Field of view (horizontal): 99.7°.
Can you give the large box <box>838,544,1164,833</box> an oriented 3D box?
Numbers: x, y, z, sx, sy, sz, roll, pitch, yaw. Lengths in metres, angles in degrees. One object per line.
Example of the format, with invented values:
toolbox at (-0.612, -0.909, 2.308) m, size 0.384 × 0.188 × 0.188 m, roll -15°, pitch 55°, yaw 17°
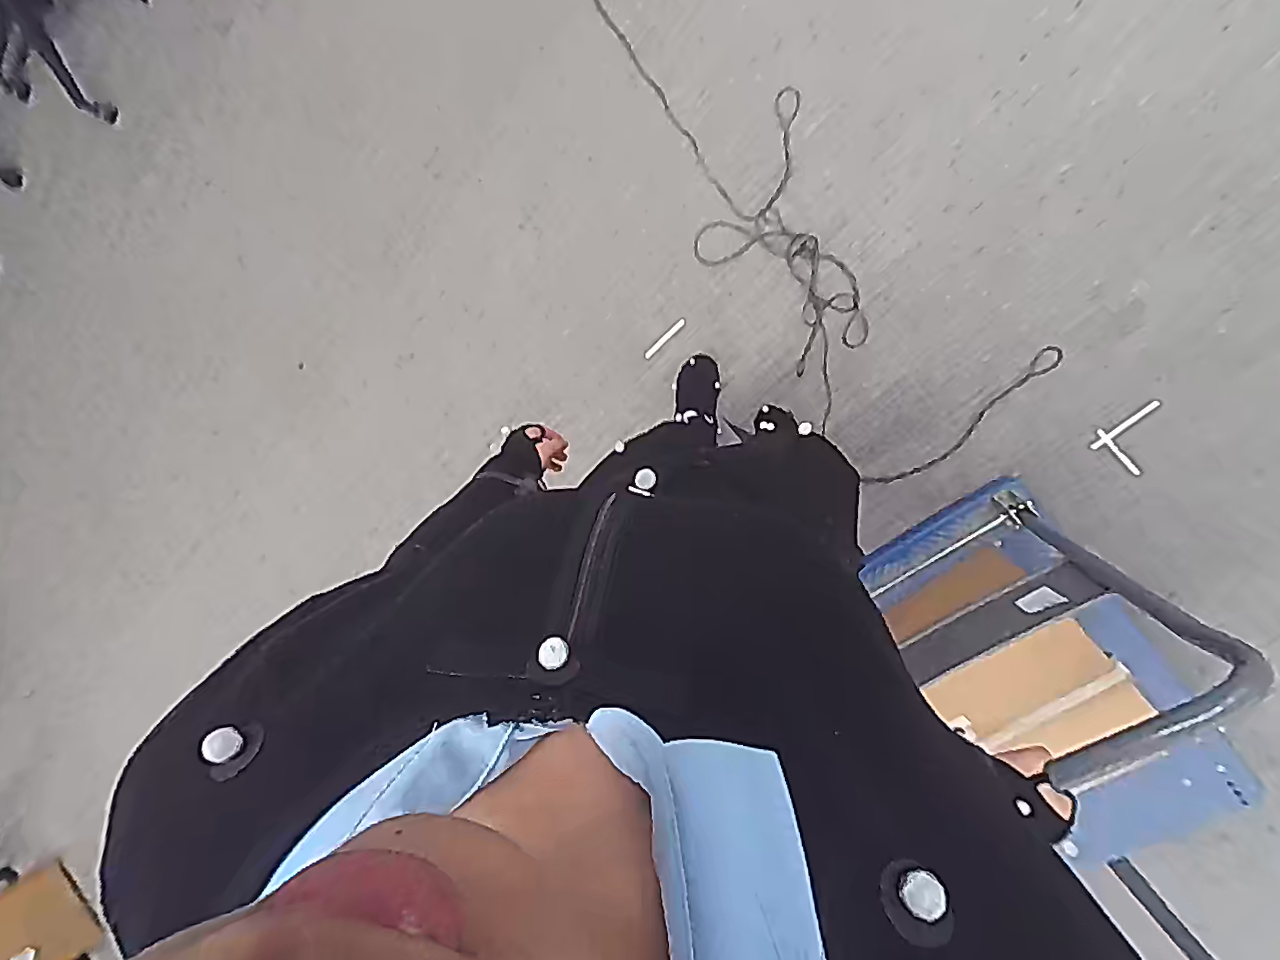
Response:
large box at (0.678, 0.402, 1.105) m, size 0.408 × 0.320 × 0.320 m, roll -43°, pitch 88°, yaw 19°
